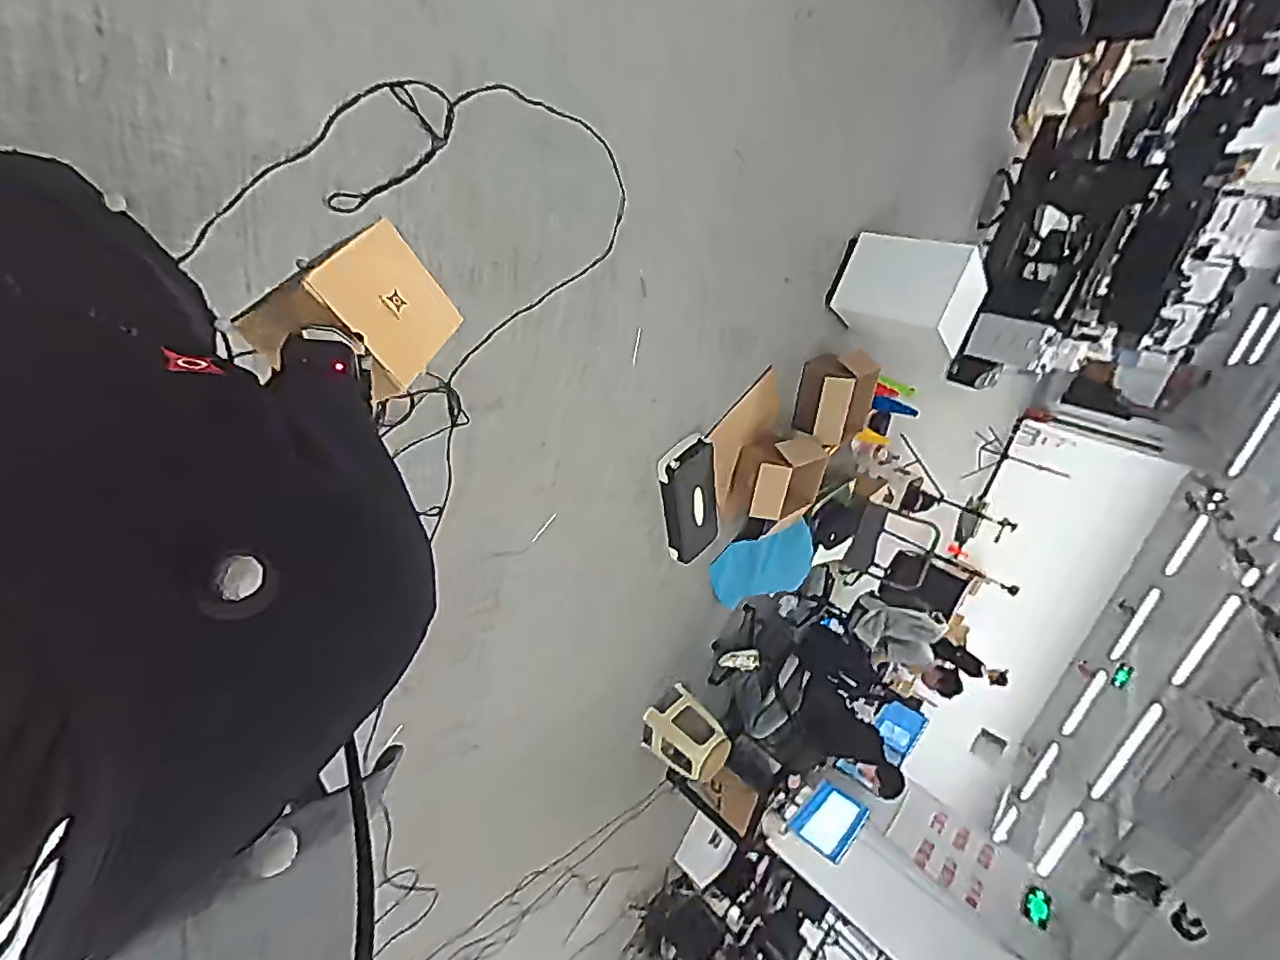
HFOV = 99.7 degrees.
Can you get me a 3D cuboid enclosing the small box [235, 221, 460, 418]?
[{"bbox_3d":[-0.387,-0.209,0.728,0.168,0.176,0.179,55,38,-37],"label":"small box"}]
